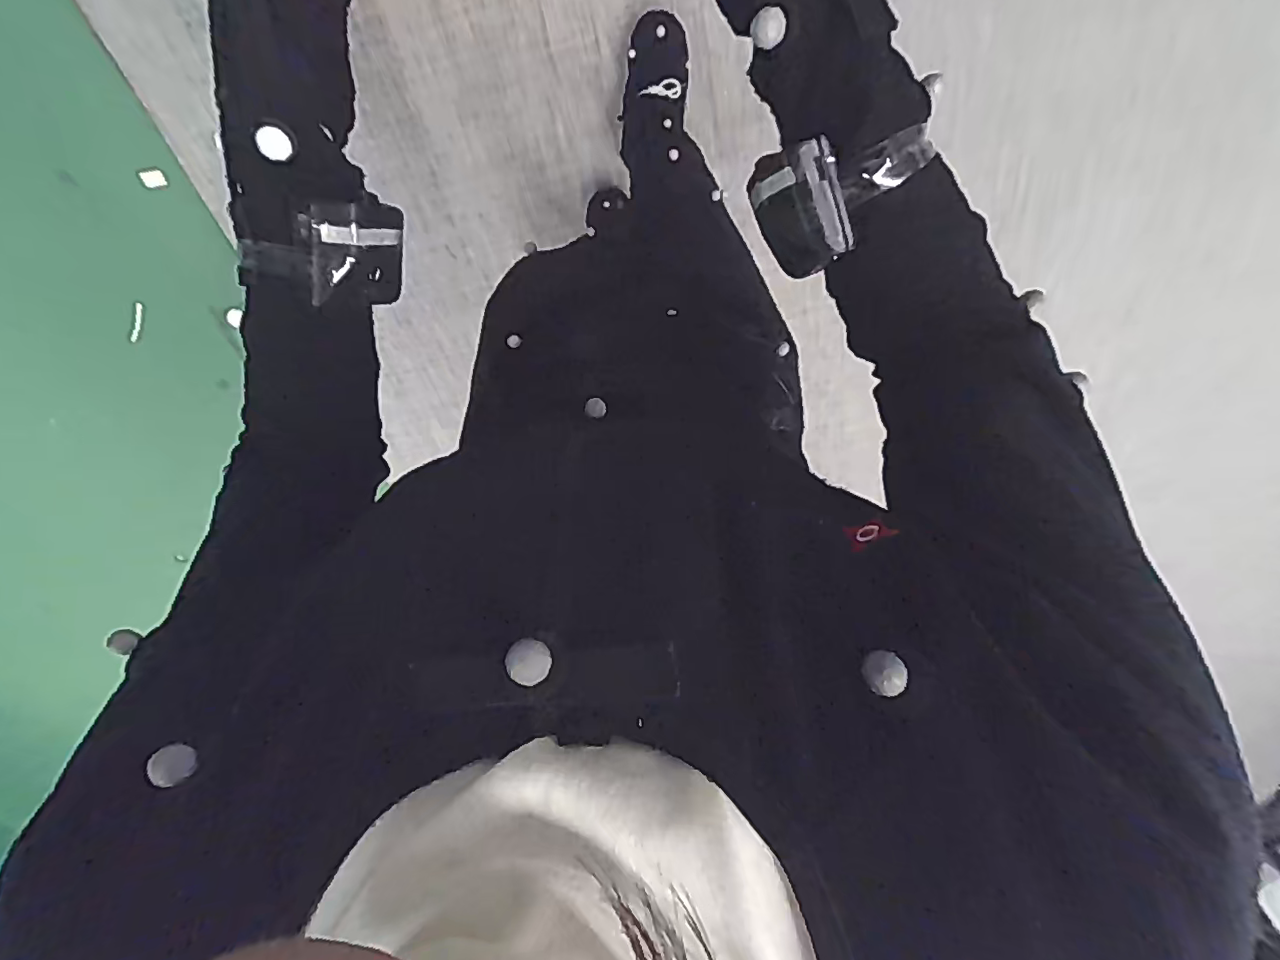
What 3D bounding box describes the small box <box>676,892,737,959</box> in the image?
[{"bbox_3d":[0.224,1.535,1.848,0.179,0.176,0.168,-11,127,8],"label":"small box"}]
